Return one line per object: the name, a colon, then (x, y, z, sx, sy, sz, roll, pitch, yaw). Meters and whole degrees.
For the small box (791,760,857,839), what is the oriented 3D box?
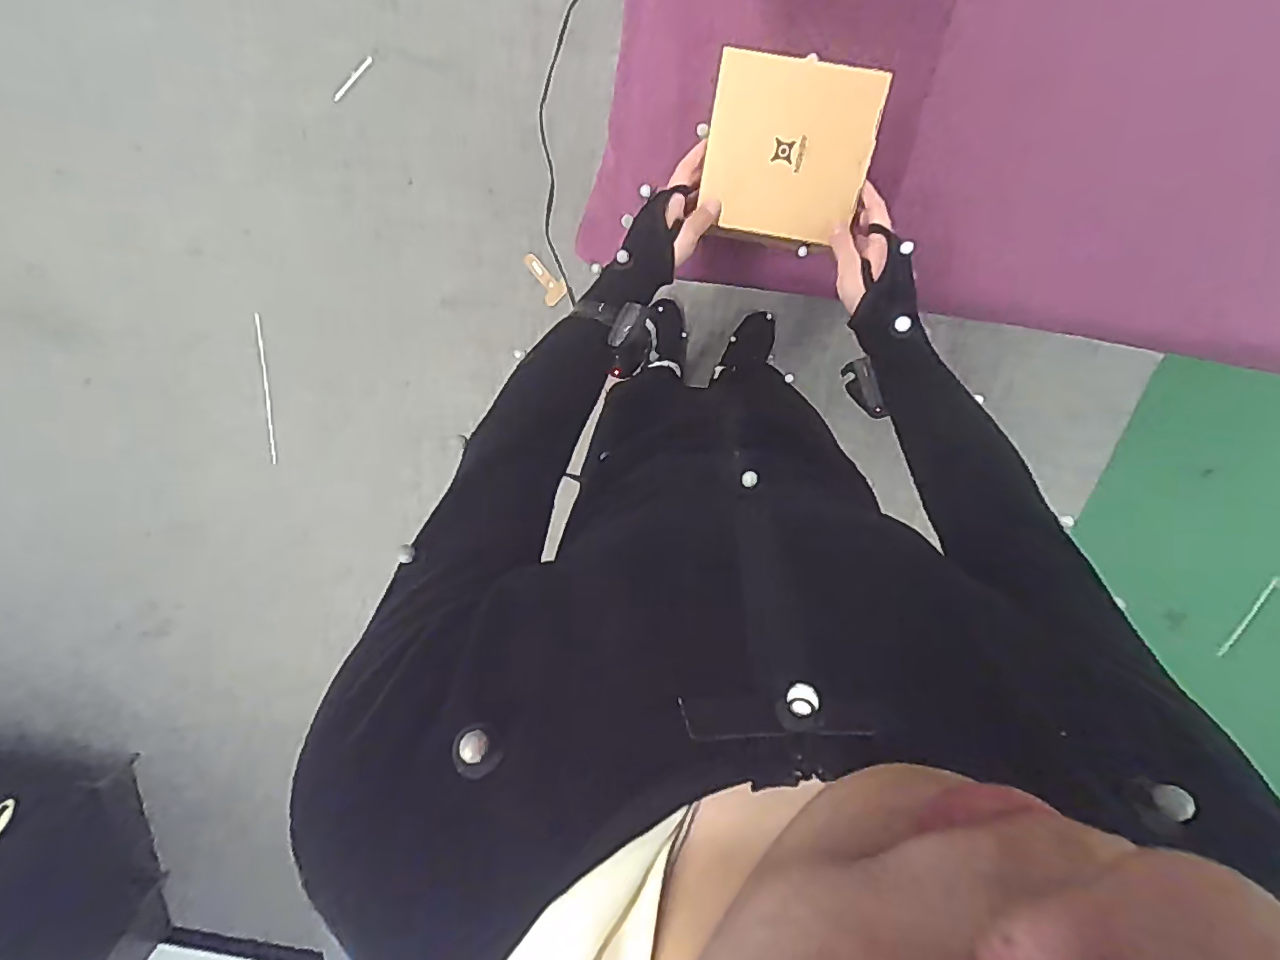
small box: (0.667, 1.163, 1.980, 0.168, 0.176, 0.179, 12, 112, 0)

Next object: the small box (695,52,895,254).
small box: (0.166, -0.373, 0.650, 0.179, 0.176, 0.168, 10, 111, 0)

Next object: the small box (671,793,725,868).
small box: (0.222, 1.347, 2.090, 0.179, 0.176, 0.168, 11, 113, 0)
